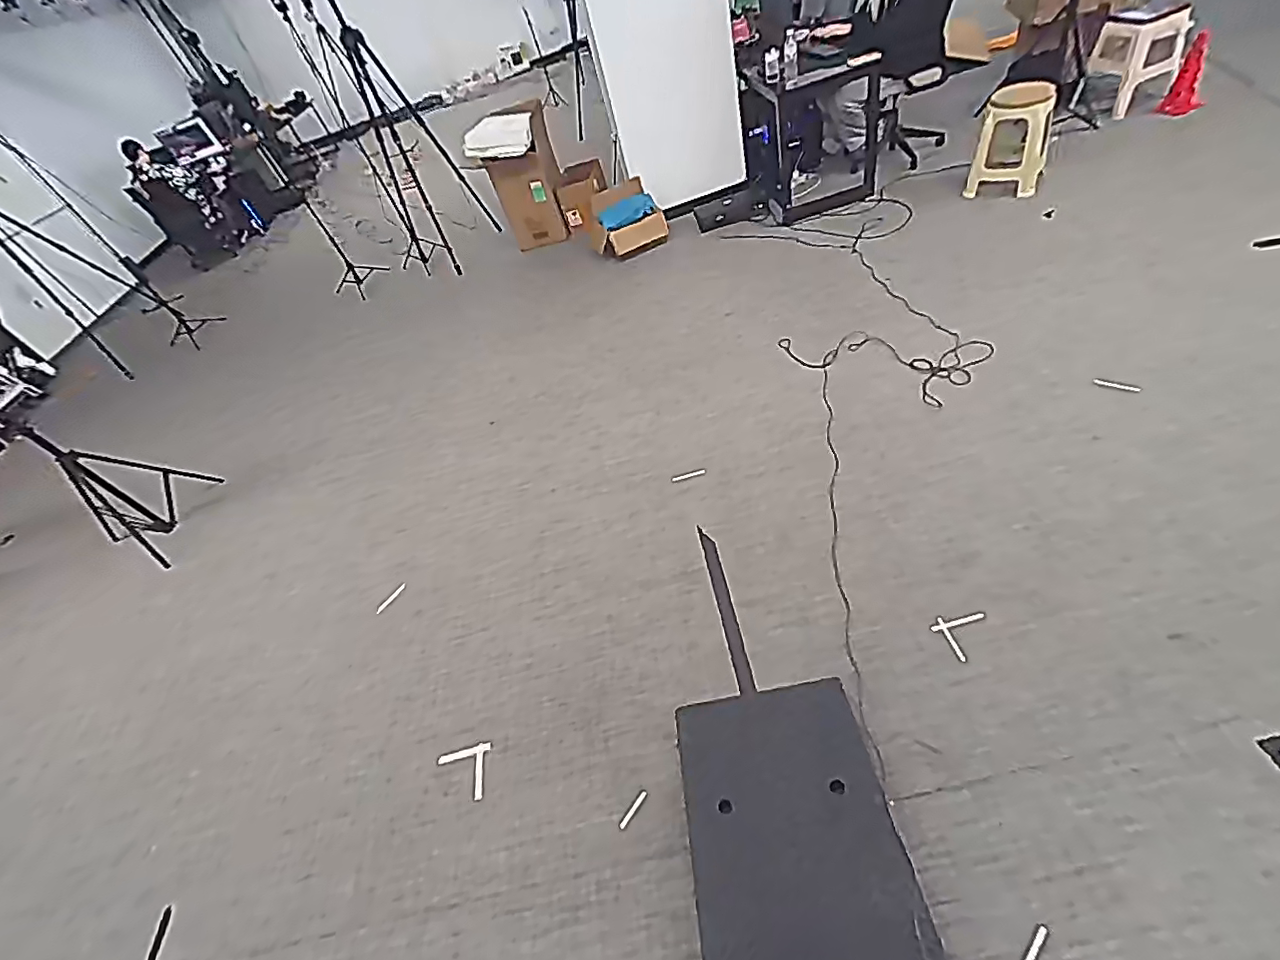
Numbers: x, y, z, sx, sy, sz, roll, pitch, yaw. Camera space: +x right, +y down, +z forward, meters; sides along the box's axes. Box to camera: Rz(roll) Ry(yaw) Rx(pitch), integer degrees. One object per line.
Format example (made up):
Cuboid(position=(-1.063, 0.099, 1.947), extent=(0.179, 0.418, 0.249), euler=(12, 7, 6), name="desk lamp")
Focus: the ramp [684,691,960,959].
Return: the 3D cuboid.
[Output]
Cuboid(position=(0.391, 0.957, 1.179), extent=(0.509, 0.206, 0.991), euler=(-18, 43, 6), name="ramp")
